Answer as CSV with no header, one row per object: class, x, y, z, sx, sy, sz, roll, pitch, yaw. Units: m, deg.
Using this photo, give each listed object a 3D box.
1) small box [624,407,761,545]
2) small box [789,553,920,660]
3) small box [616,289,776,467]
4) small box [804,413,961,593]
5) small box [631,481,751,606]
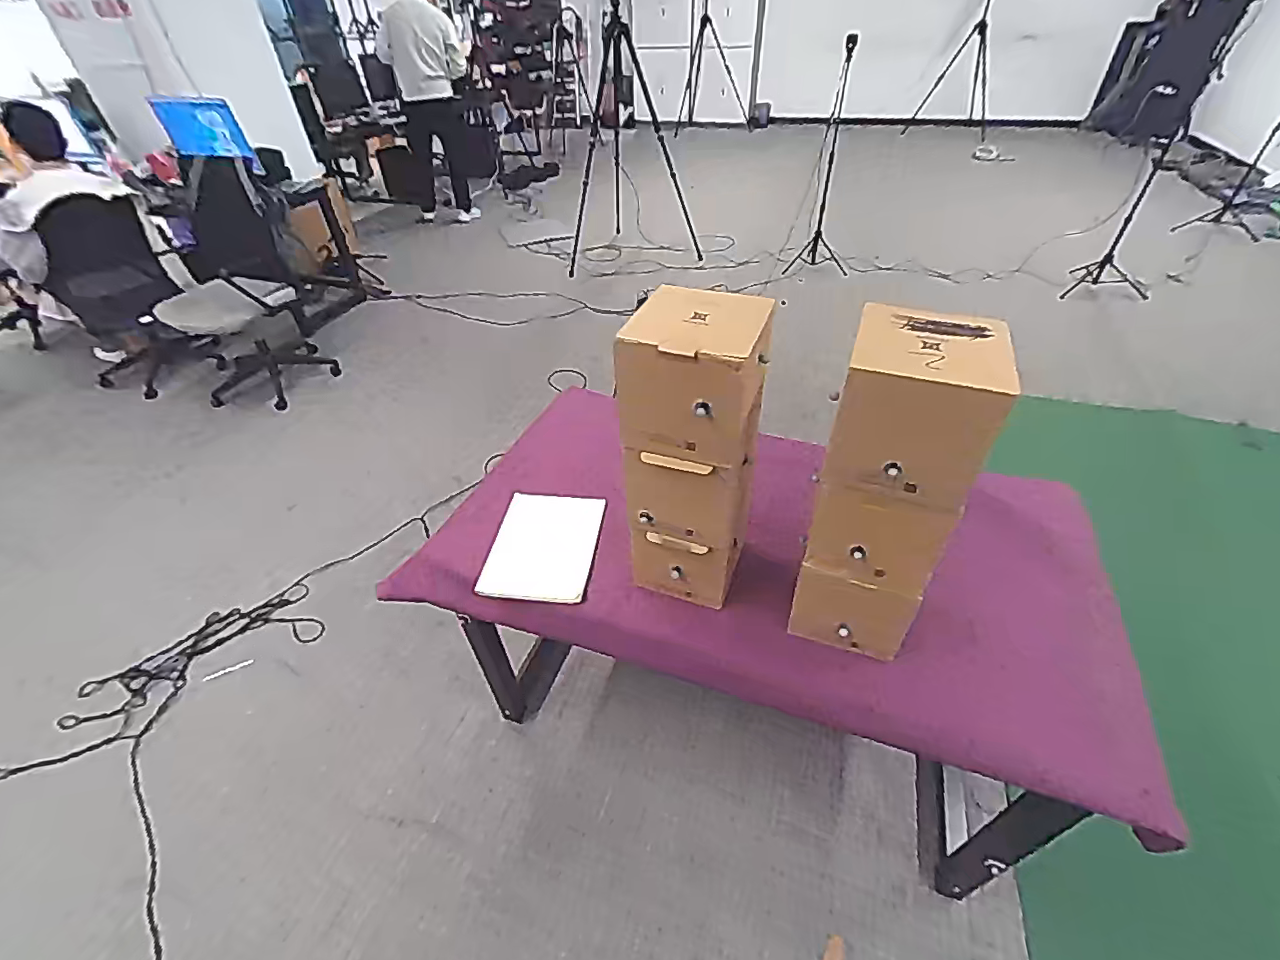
small box,0.087,-0.023,0.859,0.168,0.176,0.179,13,43,17
small box,0.349,0.159,0.888,0.168,0.176,0.179,12,43,18
small box,0.080,-0.142,0.748,0.168,0.176,0.179,14,44,17
small box,0.345,0.031,0.786,0.168,0.176,0.179,13,43,17
small box,0.094,0.097,0.972,0.168,0.176,0.179,14,45,17
